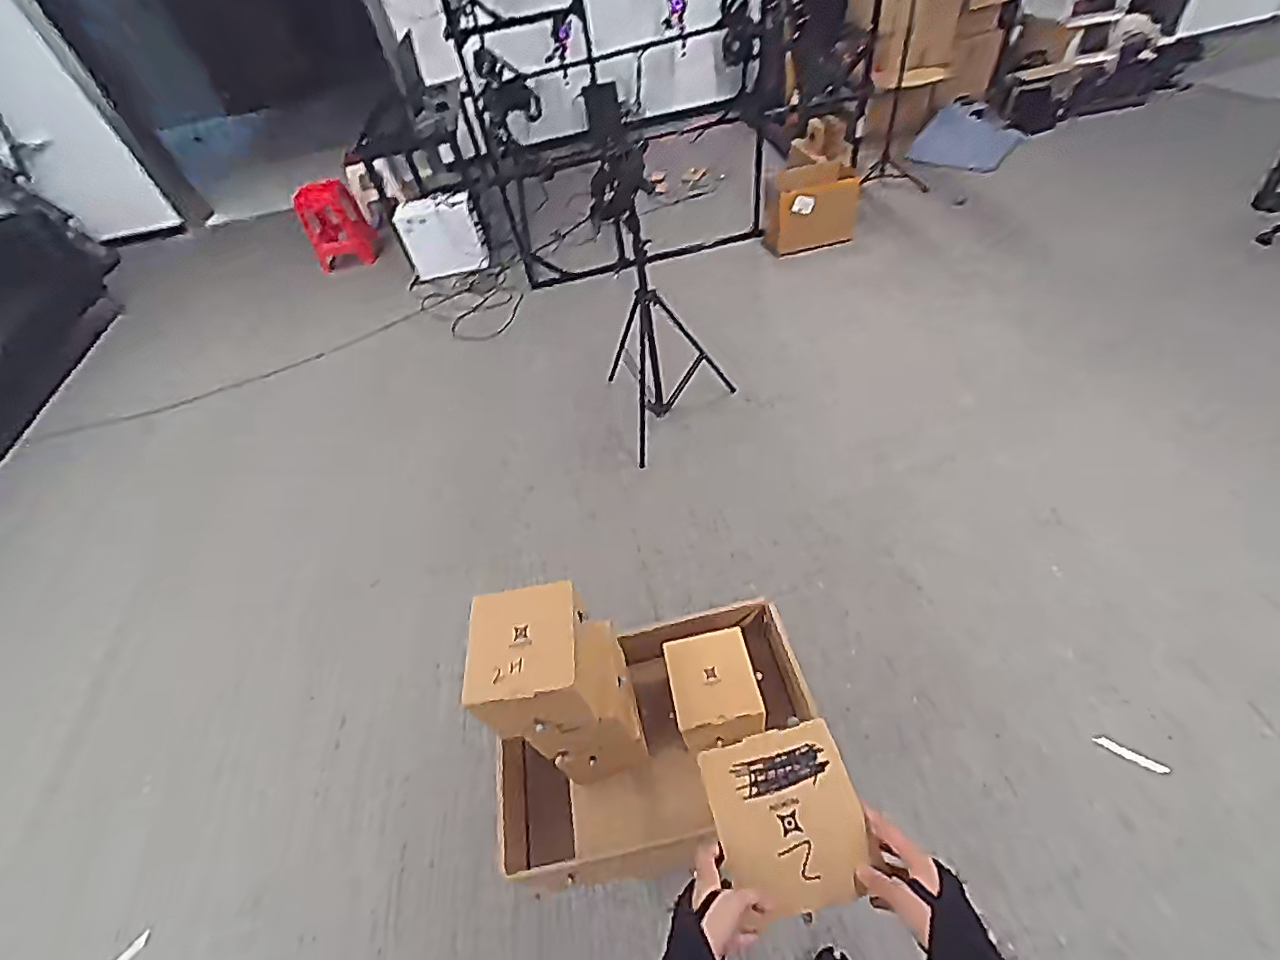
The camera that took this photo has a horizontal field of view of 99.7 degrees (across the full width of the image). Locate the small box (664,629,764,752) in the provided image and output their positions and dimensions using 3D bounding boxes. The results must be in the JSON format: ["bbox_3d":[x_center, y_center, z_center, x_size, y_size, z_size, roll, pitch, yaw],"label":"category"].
[{"bbox_3d":[0.150,0.439,1.124,0.168,0.176,0.179,-13,50,0],"label":"small box"}]

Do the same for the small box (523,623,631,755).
[{"bbox_3d":[-0.114,0.391,0.997,0.168,0.176,0.179,-10,48,1],"label":"small box"}]

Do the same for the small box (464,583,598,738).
[{"bbox_3d":[-0.166,0.292,0.872,0.168,0.176,0.179,-10,49,2],"label":"small box"}]
